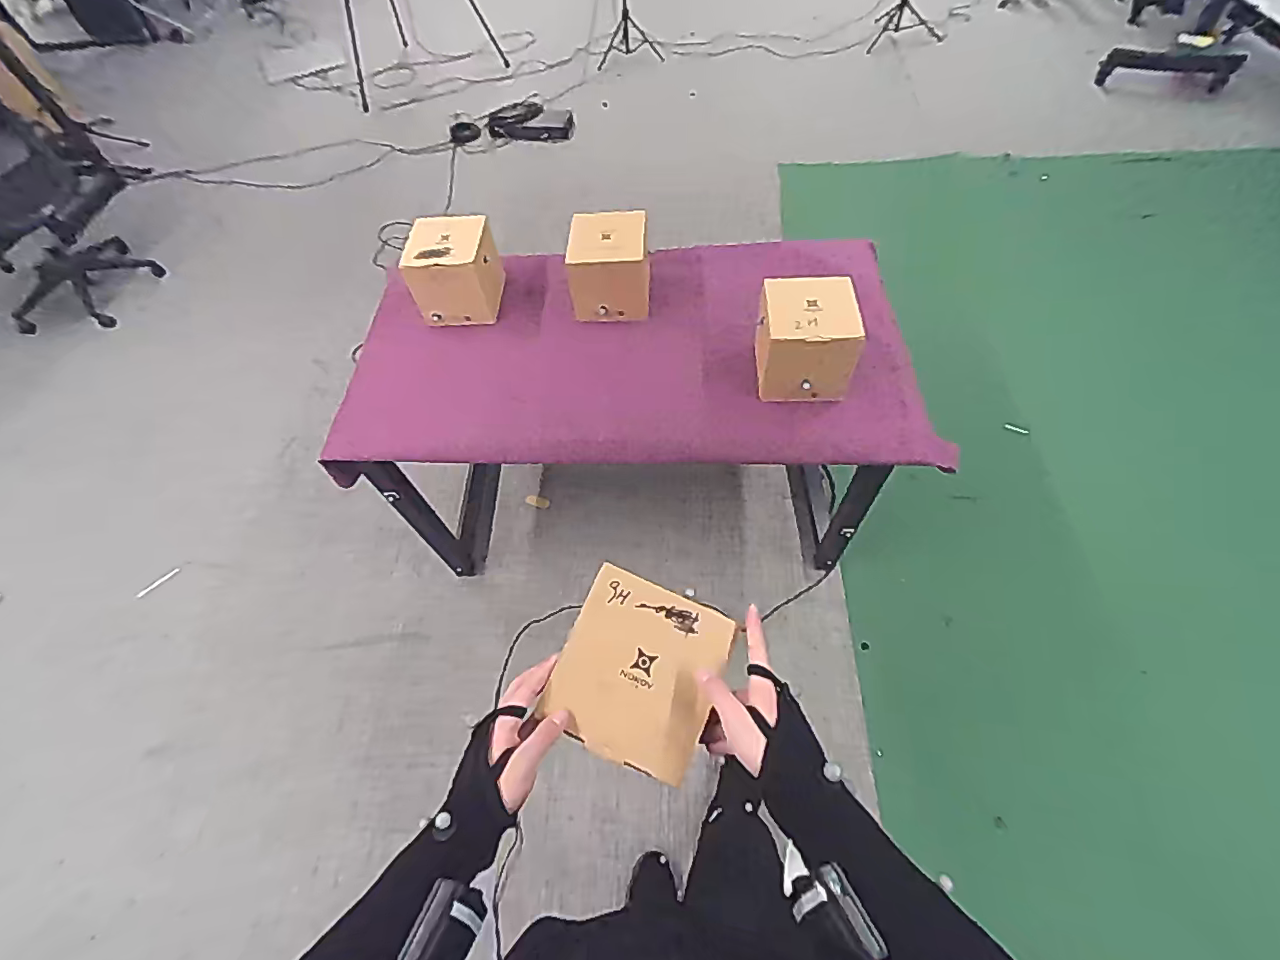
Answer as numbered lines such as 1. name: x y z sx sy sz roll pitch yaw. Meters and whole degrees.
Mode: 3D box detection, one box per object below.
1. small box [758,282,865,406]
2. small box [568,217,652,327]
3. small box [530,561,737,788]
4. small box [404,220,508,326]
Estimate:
1. small box: 0.327 -0.266 1.068 0.168 0.176 0.179 0 56 6
2. small box: -0.060 -0.473 1.235 0.168 0.176 0.179 0 58 5
3. small box: -0.004 0.218 0.638 0.168 0.176 0.179 25 76 6
4. small box: -0.418 -0.475 1.261 0.168 0.176 0.179 -1 57 3
